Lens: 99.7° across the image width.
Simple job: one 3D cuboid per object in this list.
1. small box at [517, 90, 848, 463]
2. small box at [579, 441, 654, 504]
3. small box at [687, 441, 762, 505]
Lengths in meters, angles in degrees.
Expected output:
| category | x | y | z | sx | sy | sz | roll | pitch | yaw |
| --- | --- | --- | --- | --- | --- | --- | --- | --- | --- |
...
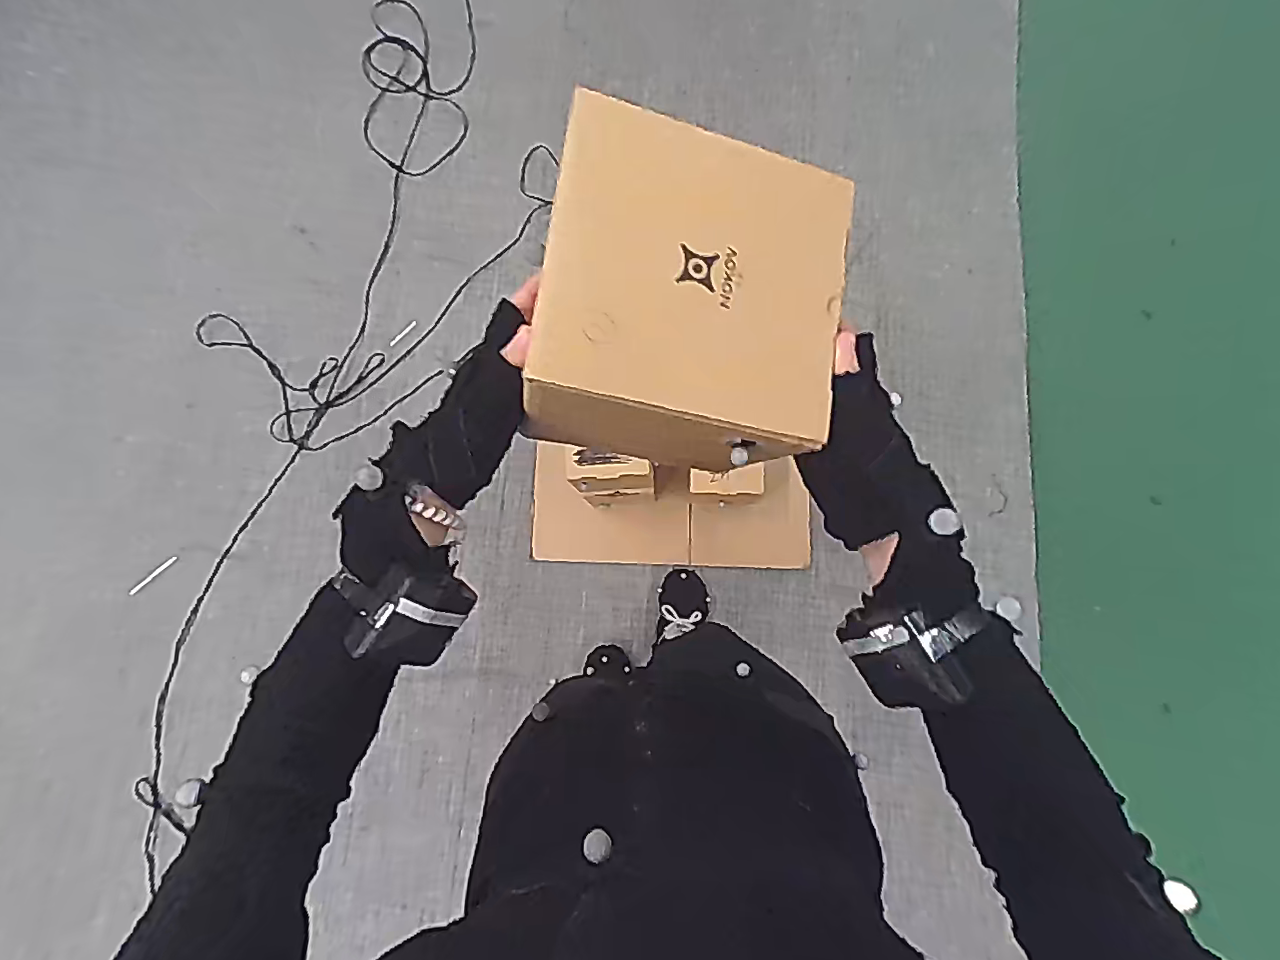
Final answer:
| category | x | y | z | sx | sy | sz | roll | pitch | yaw |
| --- | --- | --- | --- | --- | --- | --- | --- | --- | --- |
| small box | 0.014 | -0.112 | 0.378 | 0.179 | 0.176 | 0.168 | 10 | 83 | -13 |
| small box | -0.053 | -0.035 | 1.304 | 0.168 | 0.176 | 0.179 | -3 | 80 | 2 |
| small box | 0.198 | -0.038 | 1.296 | 0.168 | 0.176 | 0.179 | 1 | 80 | 4 |
